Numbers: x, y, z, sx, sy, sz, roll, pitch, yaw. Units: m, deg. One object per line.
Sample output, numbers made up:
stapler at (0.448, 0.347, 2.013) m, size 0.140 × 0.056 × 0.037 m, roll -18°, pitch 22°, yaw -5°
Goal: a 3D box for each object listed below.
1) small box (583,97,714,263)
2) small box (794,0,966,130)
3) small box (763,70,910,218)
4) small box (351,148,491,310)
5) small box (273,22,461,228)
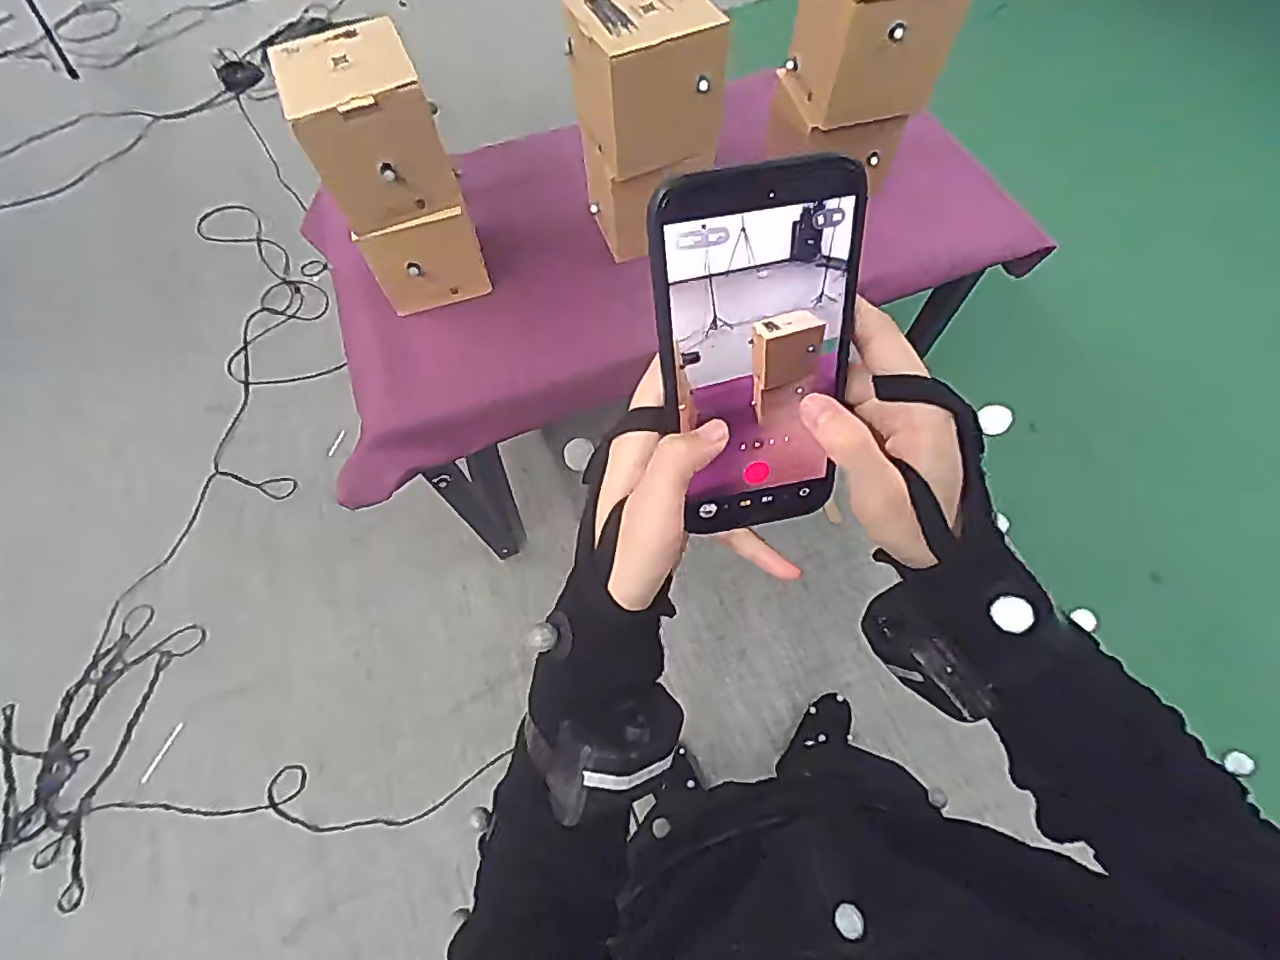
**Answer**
small box at (0.012, -0.513, 0.938) m, size 0.179 × 0.176 × 0.168 m, roll -18°, pitch 66°, yaw -6°
small box at (0.346, -0.664, 0.815) m, size 0.179 × 0.176 × 0.168 m, roll -13°, pitch 65°, yaw -4°
small box at (0.338, -0.605, 0.969) m, size 0.179 × 0.176 × 0.168 m, roll -12°, pitch 65°, yaw -3°
small box at (-0.363, -0.410, 0.907) m, size 0.168 × 0.176 × 0.179 m, roll -18°, pitch 66°, yaw -6°
small box at (-0.372, -0.486, 0.762) m, size 0.168 × 0.176 × 0.179 m, roll -22°, pitch 67°, yaw -8°
